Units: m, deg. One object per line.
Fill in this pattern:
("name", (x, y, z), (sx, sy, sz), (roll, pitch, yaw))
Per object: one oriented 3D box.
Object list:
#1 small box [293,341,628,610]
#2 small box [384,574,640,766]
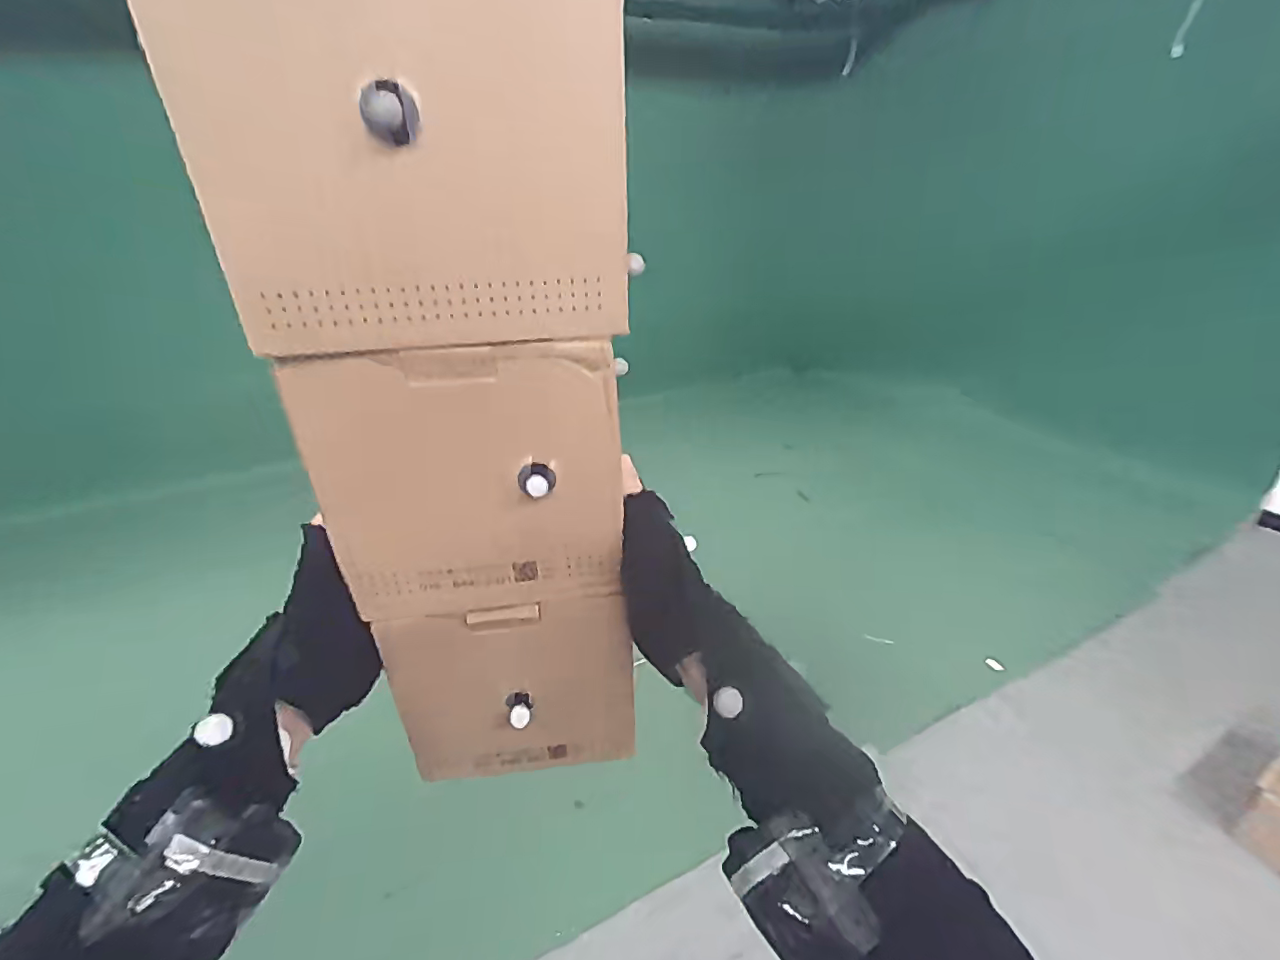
("small box", (-0.099, -0.023, 0.382), (0.168, 0.176, 0.179), (-4, 27, -6))
("small box", (-0.090, 0.118, 0.462), (0.168, 0.176, 0.179), (-4, 29, -5))
